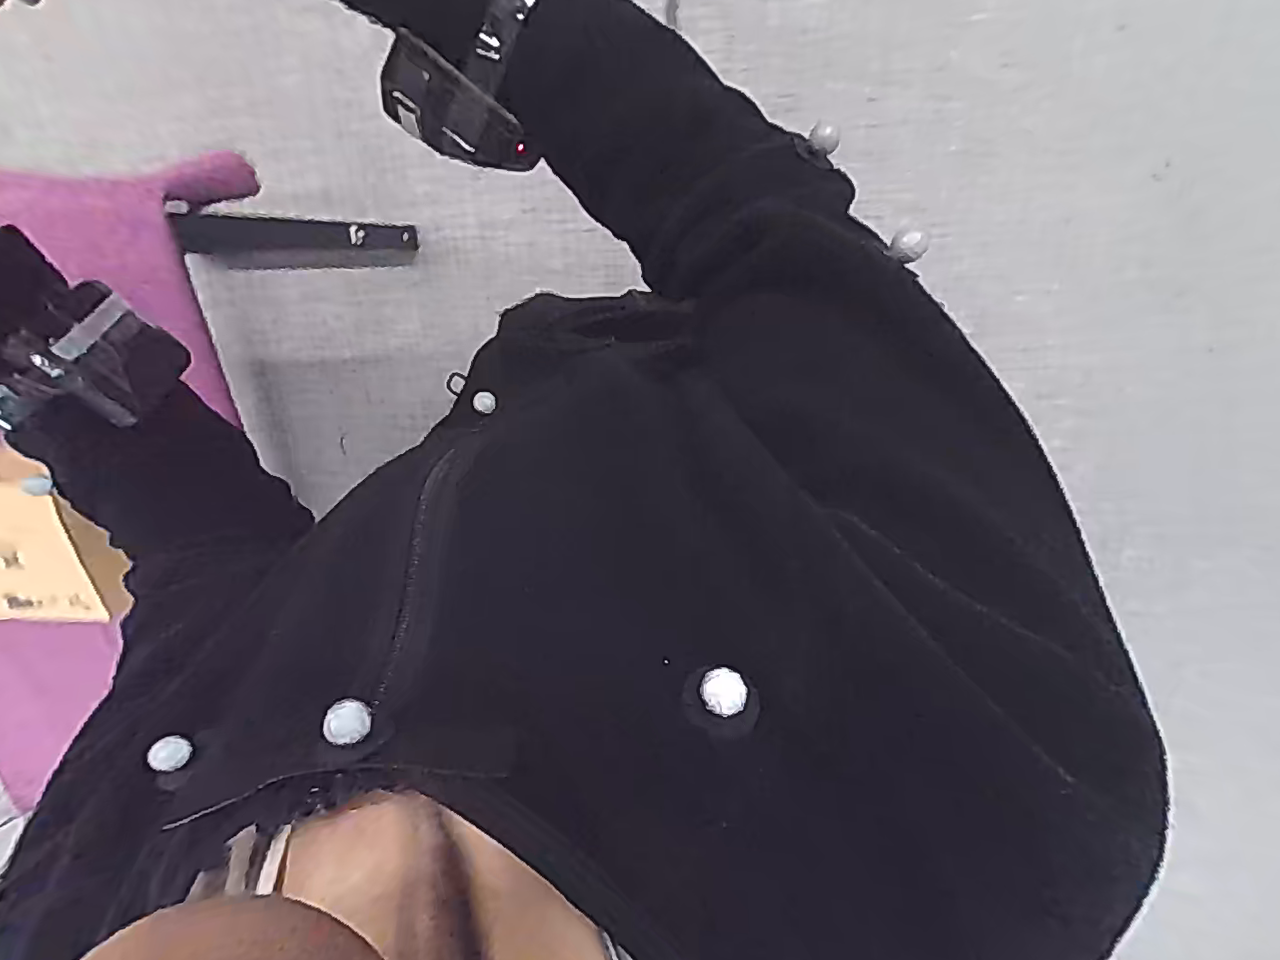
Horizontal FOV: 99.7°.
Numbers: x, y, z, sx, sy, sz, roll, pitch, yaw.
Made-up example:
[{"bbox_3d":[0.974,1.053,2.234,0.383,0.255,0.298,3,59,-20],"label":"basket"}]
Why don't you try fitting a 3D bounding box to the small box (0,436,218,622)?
[{"bbox_3d":[-0.673,0.050,0.659,0.168,0.176,0.179,1,113,3],"label":"small box"}]
